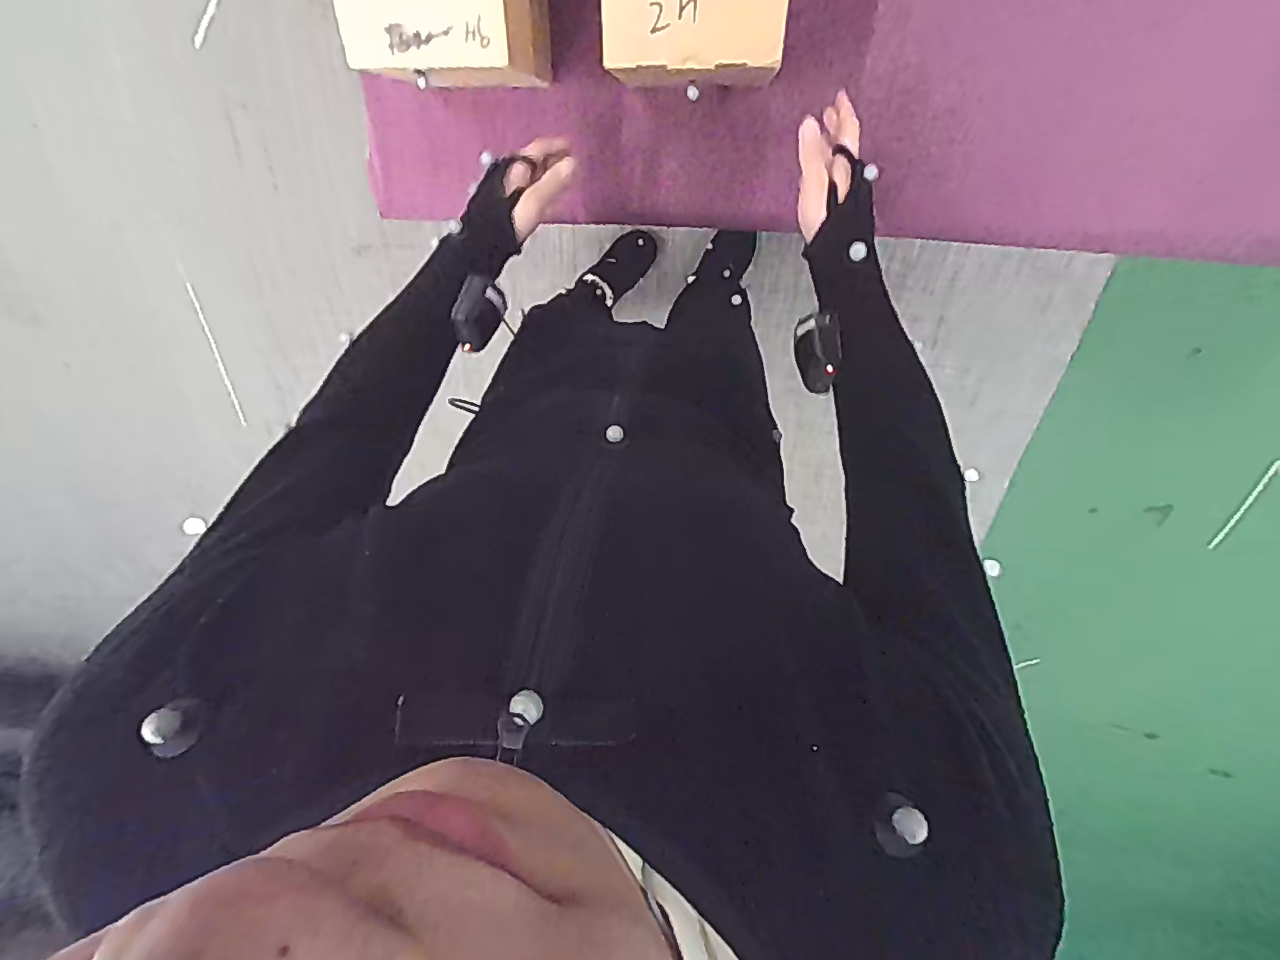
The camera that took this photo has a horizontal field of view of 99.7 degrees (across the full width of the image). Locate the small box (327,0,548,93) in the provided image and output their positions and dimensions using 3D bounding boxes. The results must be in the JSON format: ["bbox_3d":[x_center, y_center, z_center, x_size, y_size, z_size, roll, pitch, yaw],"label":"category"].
[{"bbox_3d":[-0.197,-0.507,0.542,0.168,0.176,0.179,4,121,6],"label":"small box"}]

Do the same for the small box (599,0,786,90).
[{"bbox_3d":[0.053,-0.493,0.519,0.168,0.176,0.179,4,121,5],"label":"small box"}]
